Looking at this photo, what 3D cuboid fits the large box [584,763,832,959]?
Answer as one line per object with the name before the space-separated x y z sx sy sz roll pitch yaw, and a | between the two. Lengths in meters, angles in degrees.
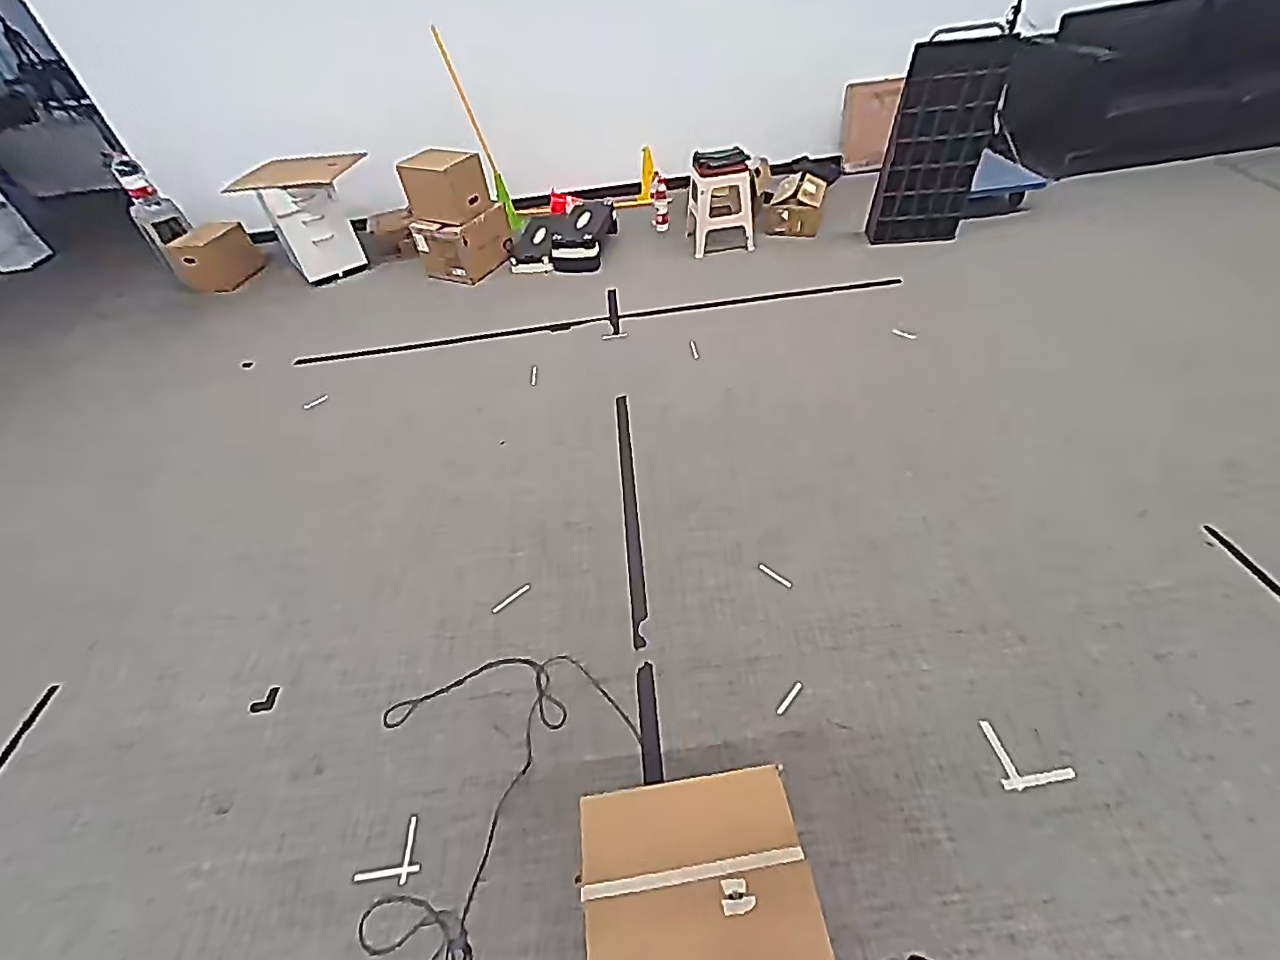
large box | 0.115 0.822 1.087 0.408 0.320 0.320 -9 43 -2
